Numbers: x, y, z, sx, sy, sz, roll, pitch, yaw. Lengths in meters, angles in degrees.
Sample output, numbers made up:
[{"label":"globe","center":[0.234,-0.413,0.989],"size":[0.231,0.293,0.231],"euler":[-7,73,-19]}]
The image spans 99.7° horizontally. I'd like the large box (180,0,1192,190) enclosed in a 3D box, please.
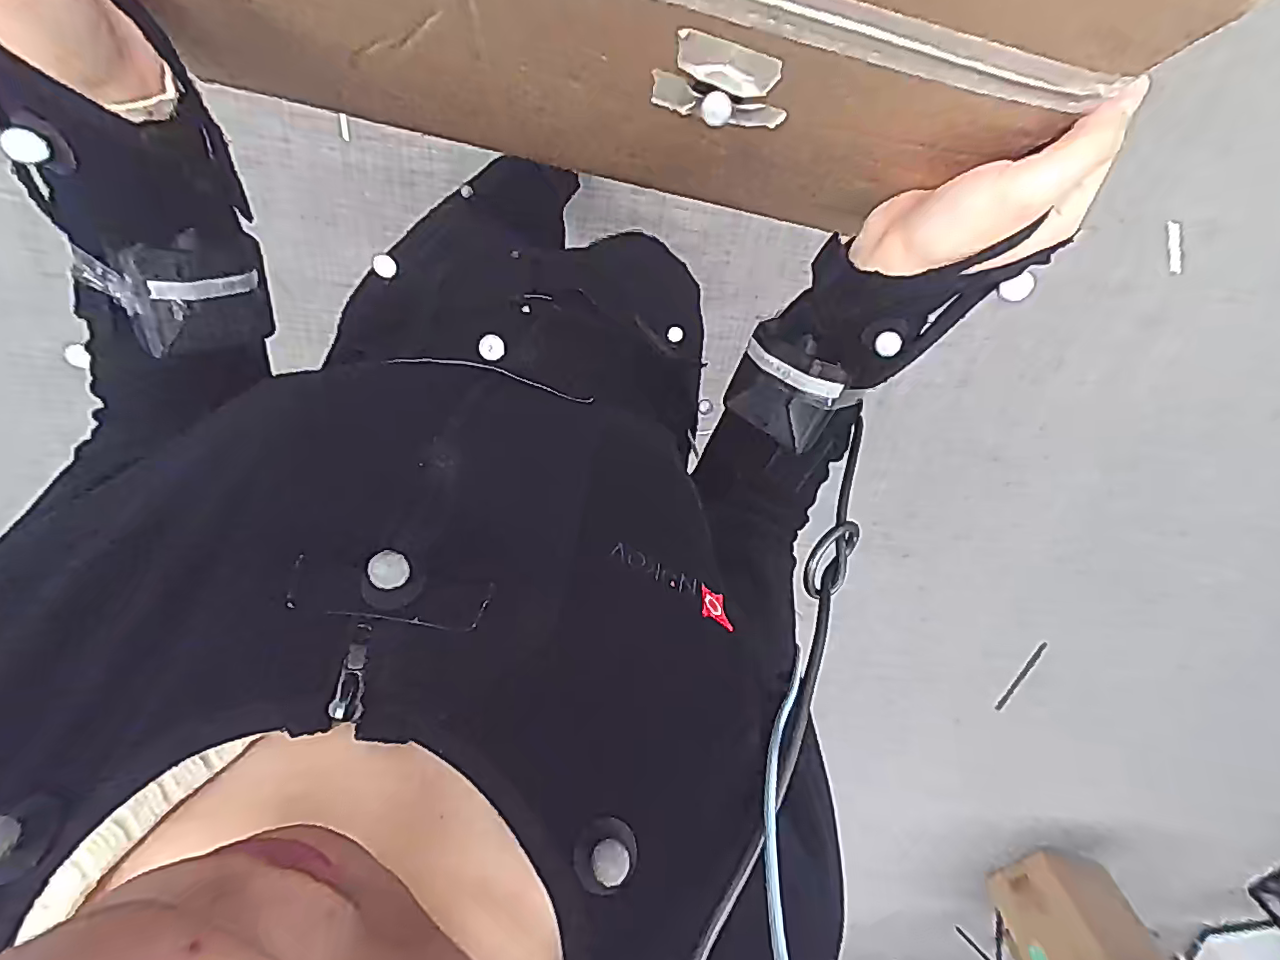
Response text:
[{"label":"large box","center":[0.012,-0.338,0.138],"size":[0.408,0.320,0.320],"euler":[9,94,-8]}]
